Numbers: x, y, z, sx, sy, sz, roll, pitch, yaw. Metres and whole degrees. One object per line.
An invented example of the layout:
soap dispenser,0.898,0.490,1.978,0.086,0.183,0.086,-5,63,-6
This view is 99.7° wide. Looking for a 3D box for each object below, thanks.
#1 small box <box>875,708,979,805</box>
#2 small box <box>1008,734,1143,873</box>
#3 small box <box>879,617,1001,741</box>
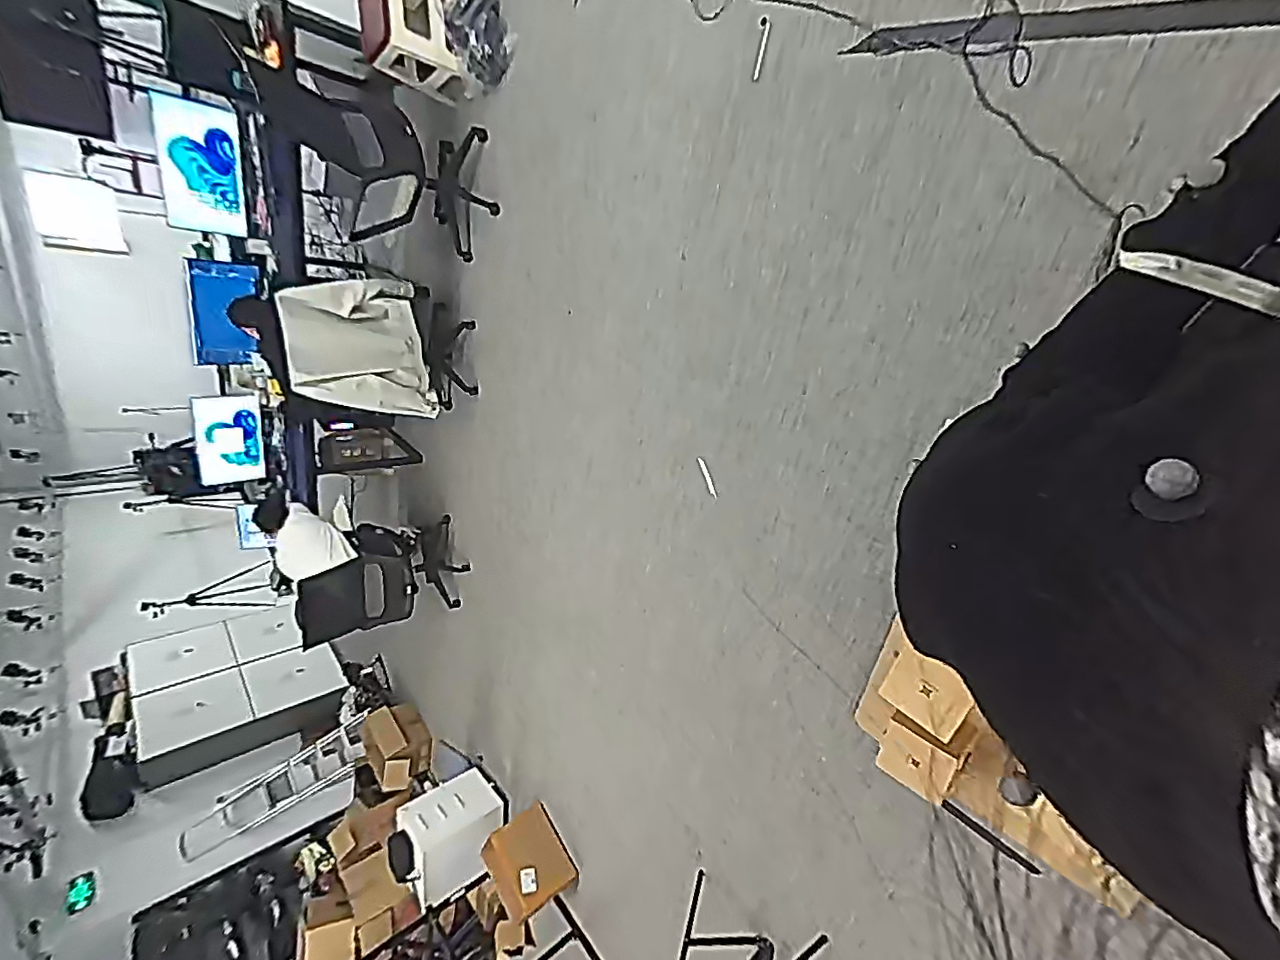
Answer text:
small box,0.770,0.713,1.452,0.179,0.176,0.168,25,117,41
small box,0.984,0.718,1.220,0.179,0.176,0.168,39,124,33
small box,0.689,0.446,1.239,0.168,0.176,0.179,34,121,37
